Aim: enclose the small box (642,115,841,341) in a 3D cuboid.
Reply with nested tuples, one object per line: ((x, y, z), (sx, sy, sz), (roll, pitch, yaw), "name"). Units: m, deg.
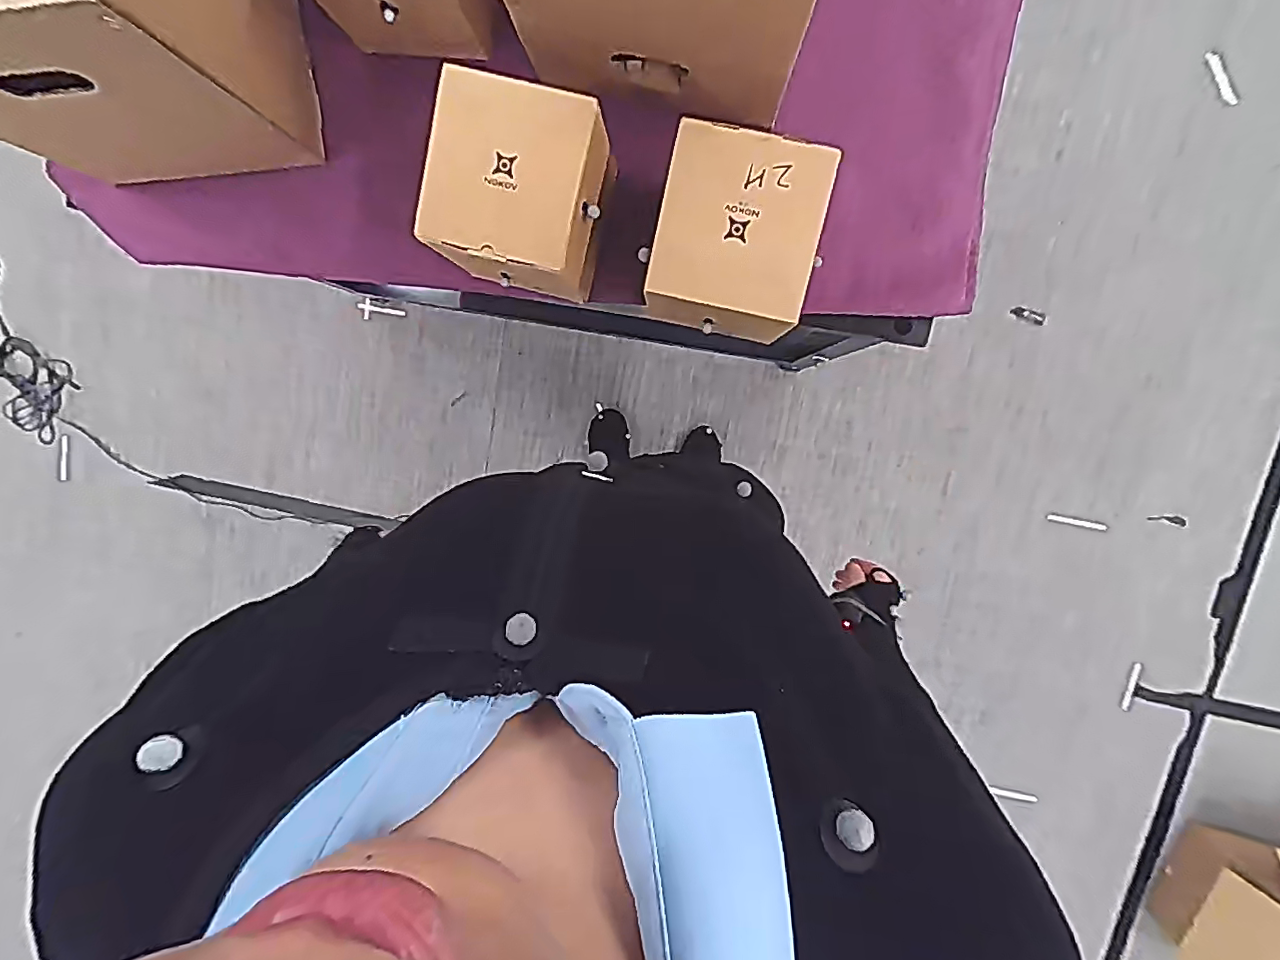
((0.105, -0.268, 0.621), (0.168, 0.176, 0.179), (13, 97, 1), "small box")
